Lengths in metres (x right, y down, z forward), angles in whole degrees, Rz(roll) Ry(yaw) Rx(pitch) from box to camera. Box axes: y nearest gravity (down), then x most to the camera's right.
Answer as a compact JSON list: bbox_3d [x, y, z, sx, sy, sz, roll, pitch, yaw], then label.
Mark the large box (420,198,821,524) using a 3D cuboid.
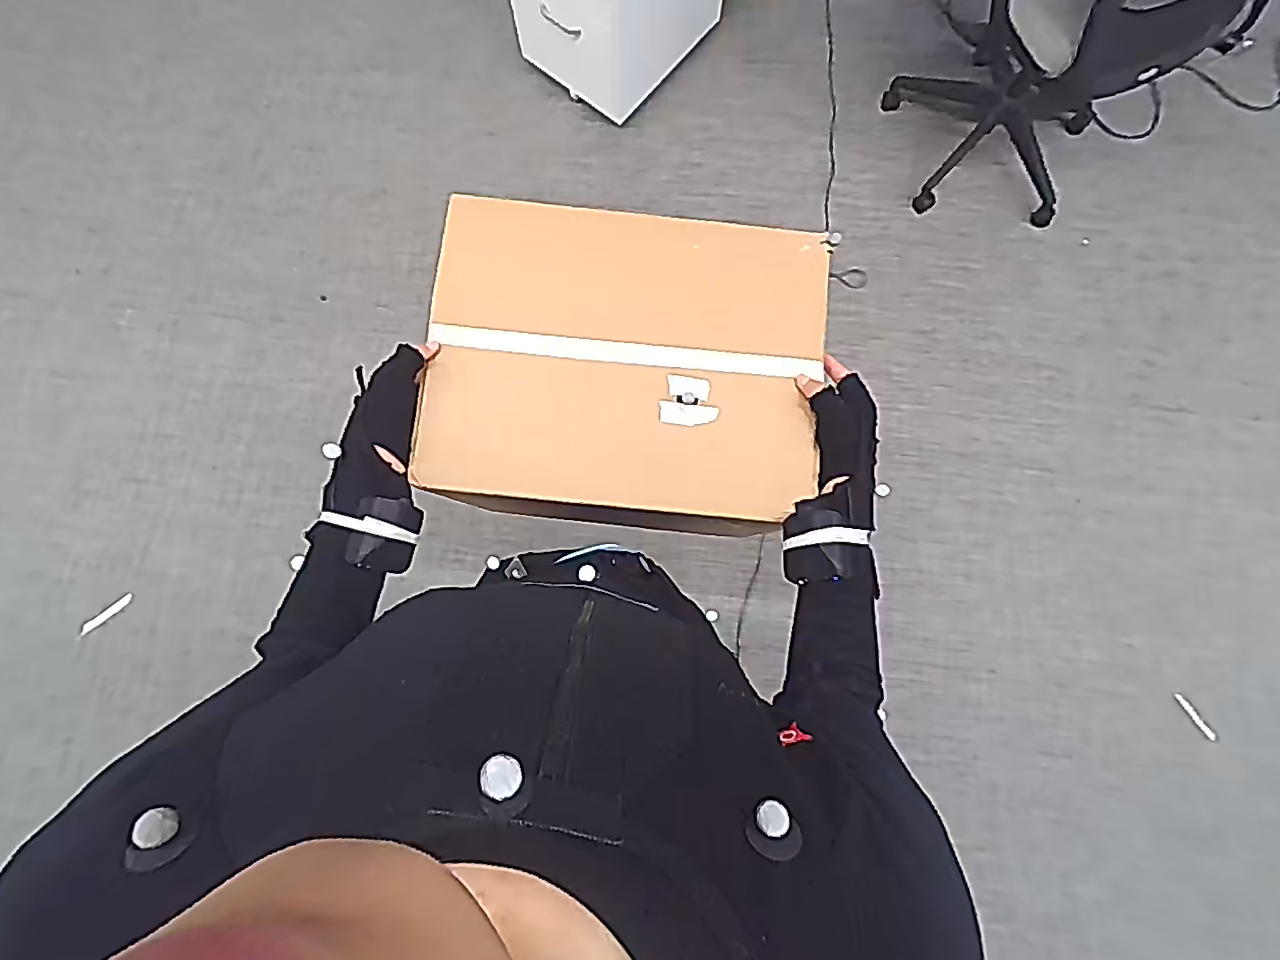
[{"bbox_3d":[-0.020,-0.117,0.714,0.408,0.320,0.320,6,83,-1],"label":"large box"}]
